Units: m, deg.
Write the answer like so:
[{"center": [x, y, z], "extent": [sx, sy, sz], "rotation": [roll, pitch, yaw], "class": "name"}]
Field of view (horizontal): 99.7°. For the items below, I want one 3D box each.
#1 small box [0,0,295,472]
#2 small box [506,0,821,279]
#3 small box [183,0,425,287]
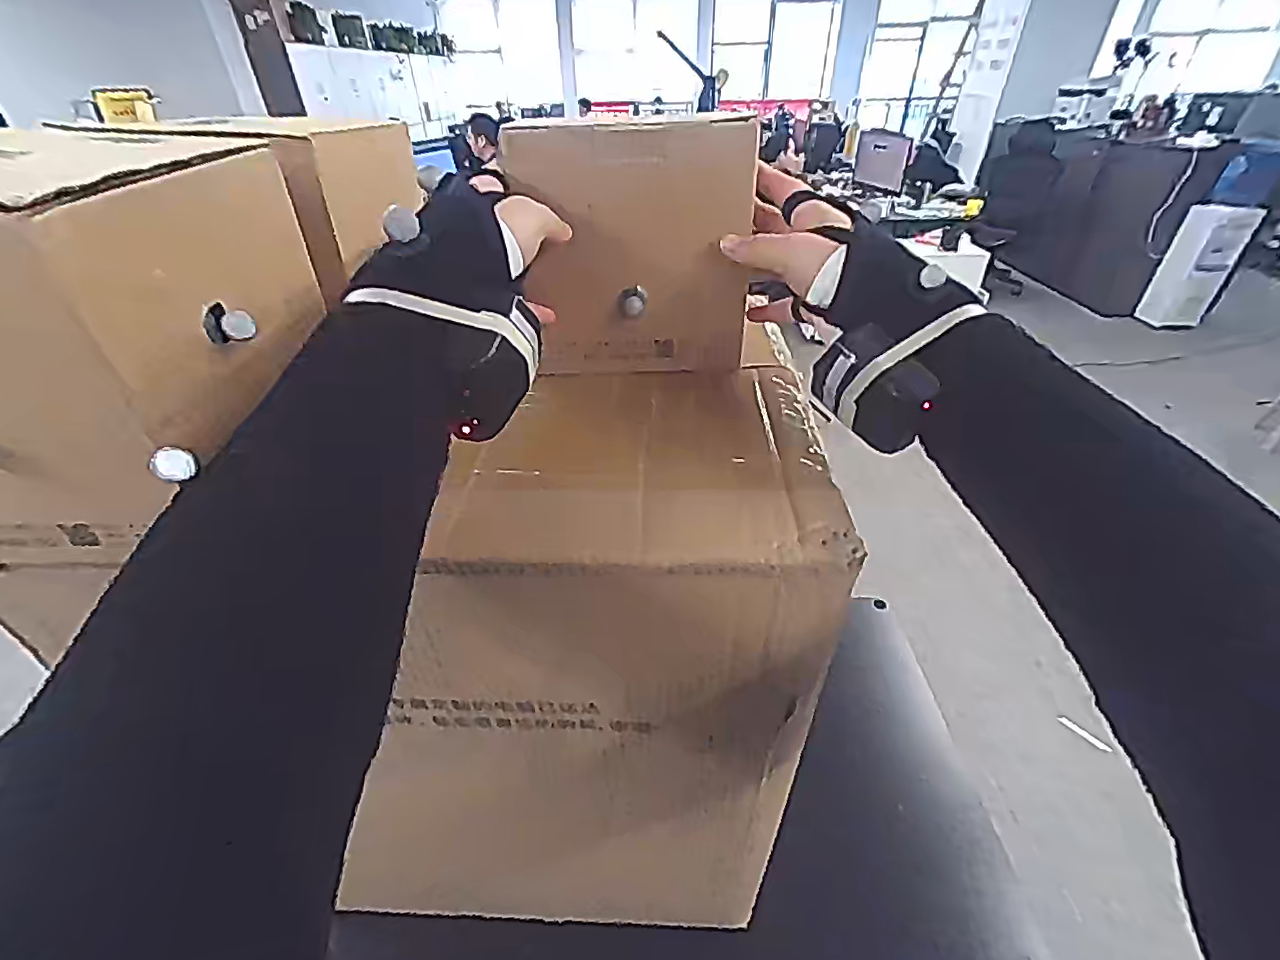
[{"center": [-0.272, -0.115, 0.205], "extent": [0.168, 0.176, 0.179], "rotation": [0, 40, -3], "class": "small box"}, {"center": [0.012, -0.244, 0.371], "extent": [0.168, 0.176, 0.179], "rotation": [-1, 34, 2], "class": "small box"}, {"center": [-0.275, -0.238, 0.370], "extent": [0.179, 0.176, 0.168], "rotation": [2, 36, 2], "class": "small box"}]
